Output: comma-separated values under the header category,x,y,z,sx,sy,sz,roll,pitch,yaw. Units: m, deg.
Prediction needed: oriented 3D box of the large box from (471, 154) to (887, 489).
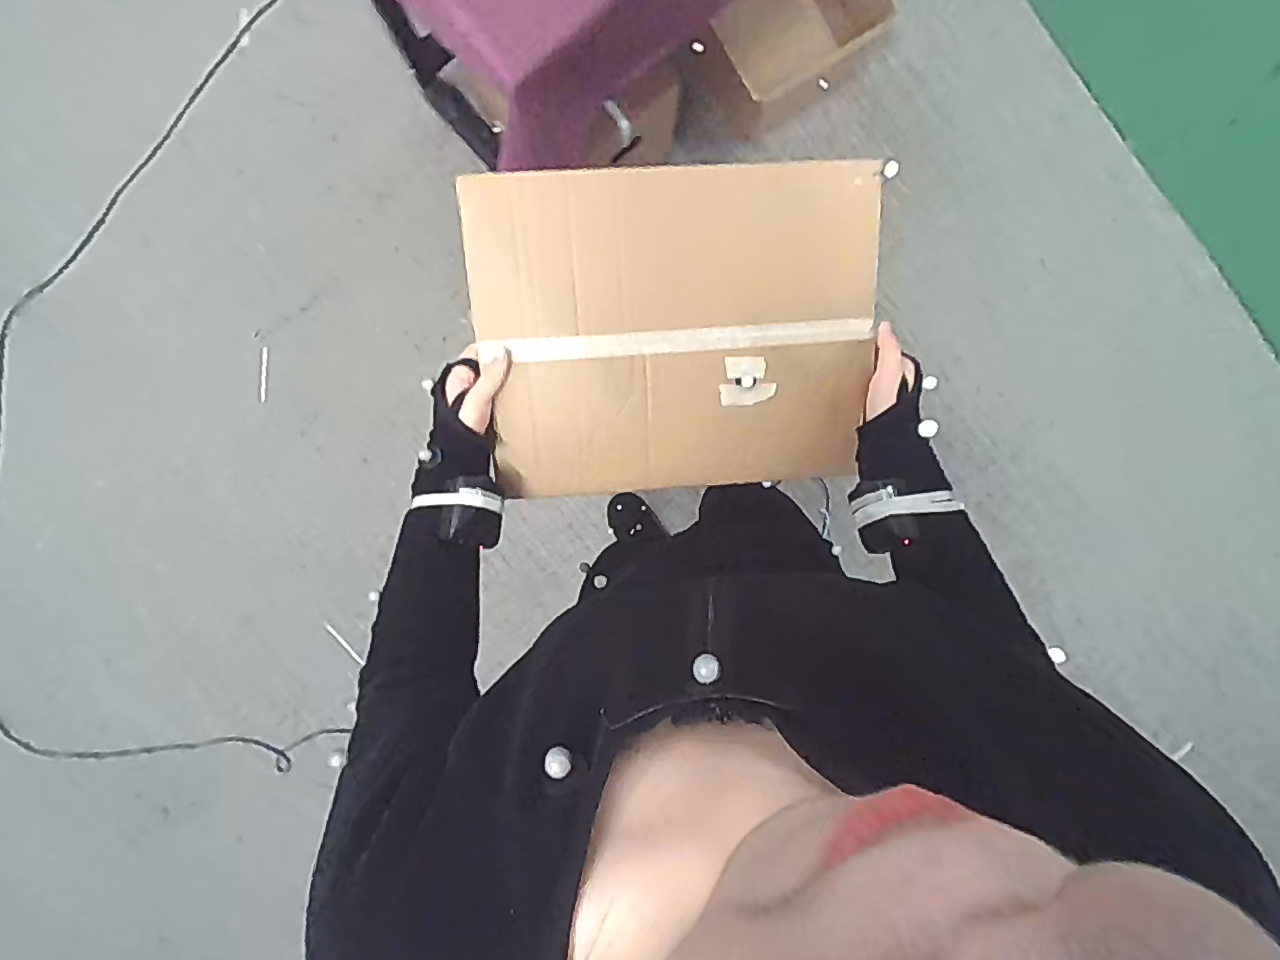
category,x,y,z,sx,sy,sz,roll,pitch,yaw
large box,0.036,-0.189,0.689,0.408,0.320,0.320,-3,106,-4
